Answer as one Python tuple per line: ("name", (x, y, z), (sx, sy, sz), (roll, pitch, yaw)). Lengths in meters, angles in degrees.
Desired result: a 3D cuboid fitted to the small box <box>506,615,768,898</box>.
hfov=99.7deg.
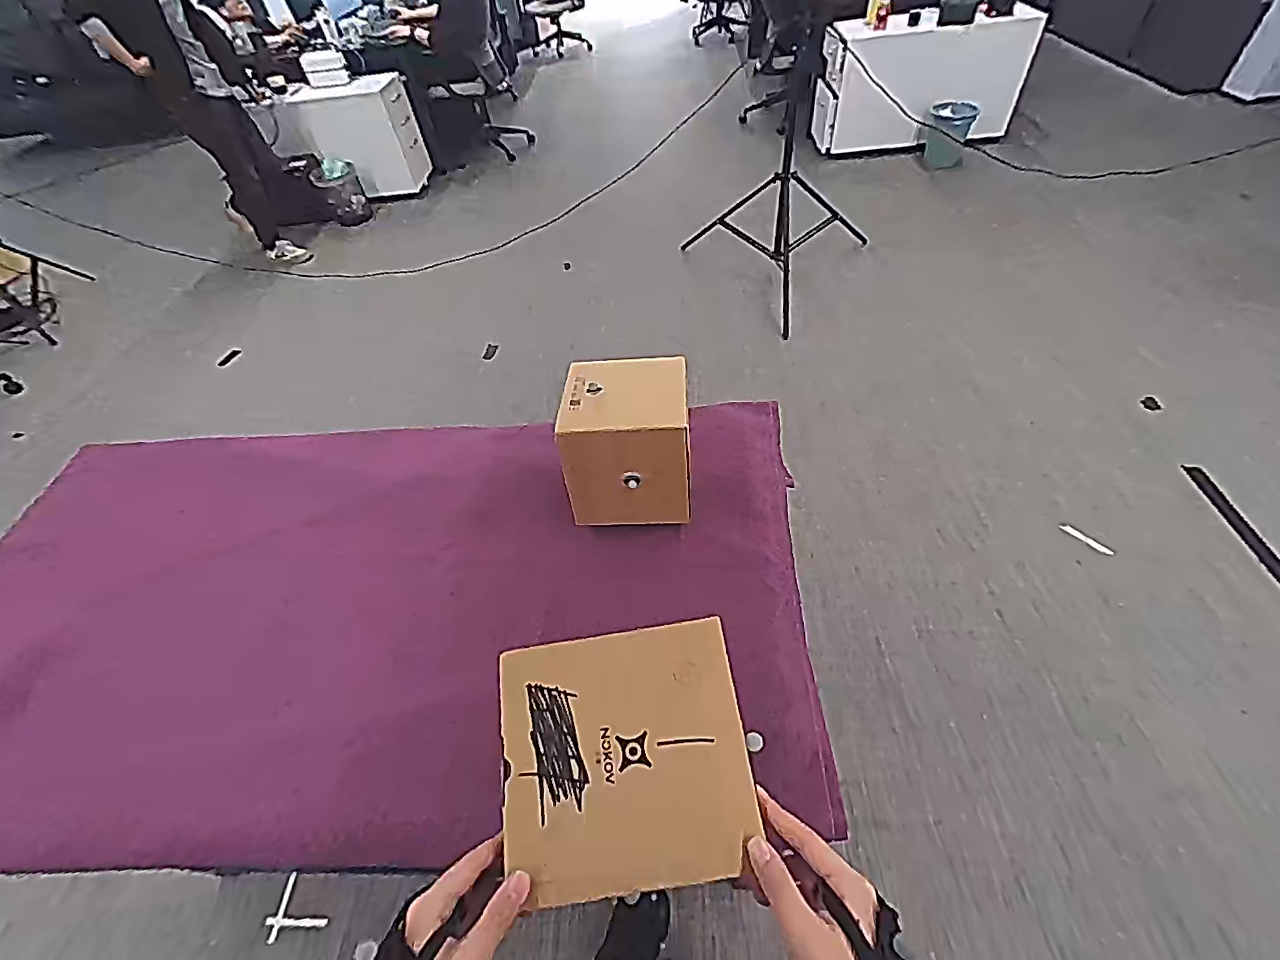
("small box", (0.001, 0.227, 0.455), (0.179, 0.176, 0.168), (-11, 62, 4))
